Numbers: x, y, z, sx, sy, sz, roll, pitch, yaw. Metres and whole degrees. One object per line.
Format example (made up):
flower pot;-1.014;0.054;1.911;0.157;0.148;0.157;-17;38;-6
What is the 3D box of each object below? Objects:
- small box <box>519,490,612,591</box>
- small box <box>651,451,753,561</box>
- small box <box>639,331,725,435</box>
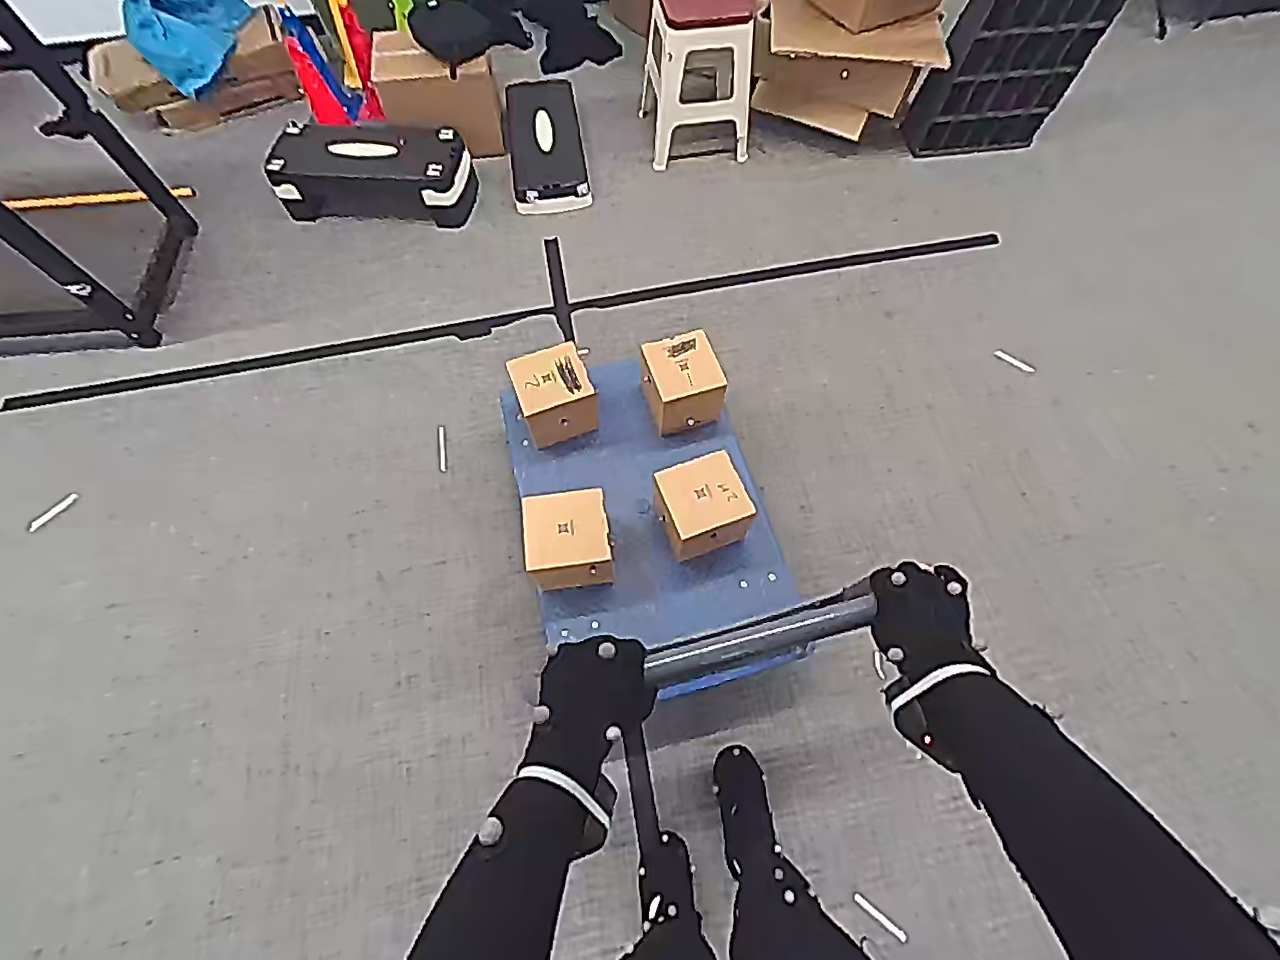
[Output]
small box;-0.161;0.139;1.193;0.179;0.176;0.168;-8;65;-5
small box;0.133;0.065;1.226;0.179;0.176;0.168;-19;67;-8
small box;0.098;-0.241;1.367;0.168;0.176;0.179;-17;67;-7
